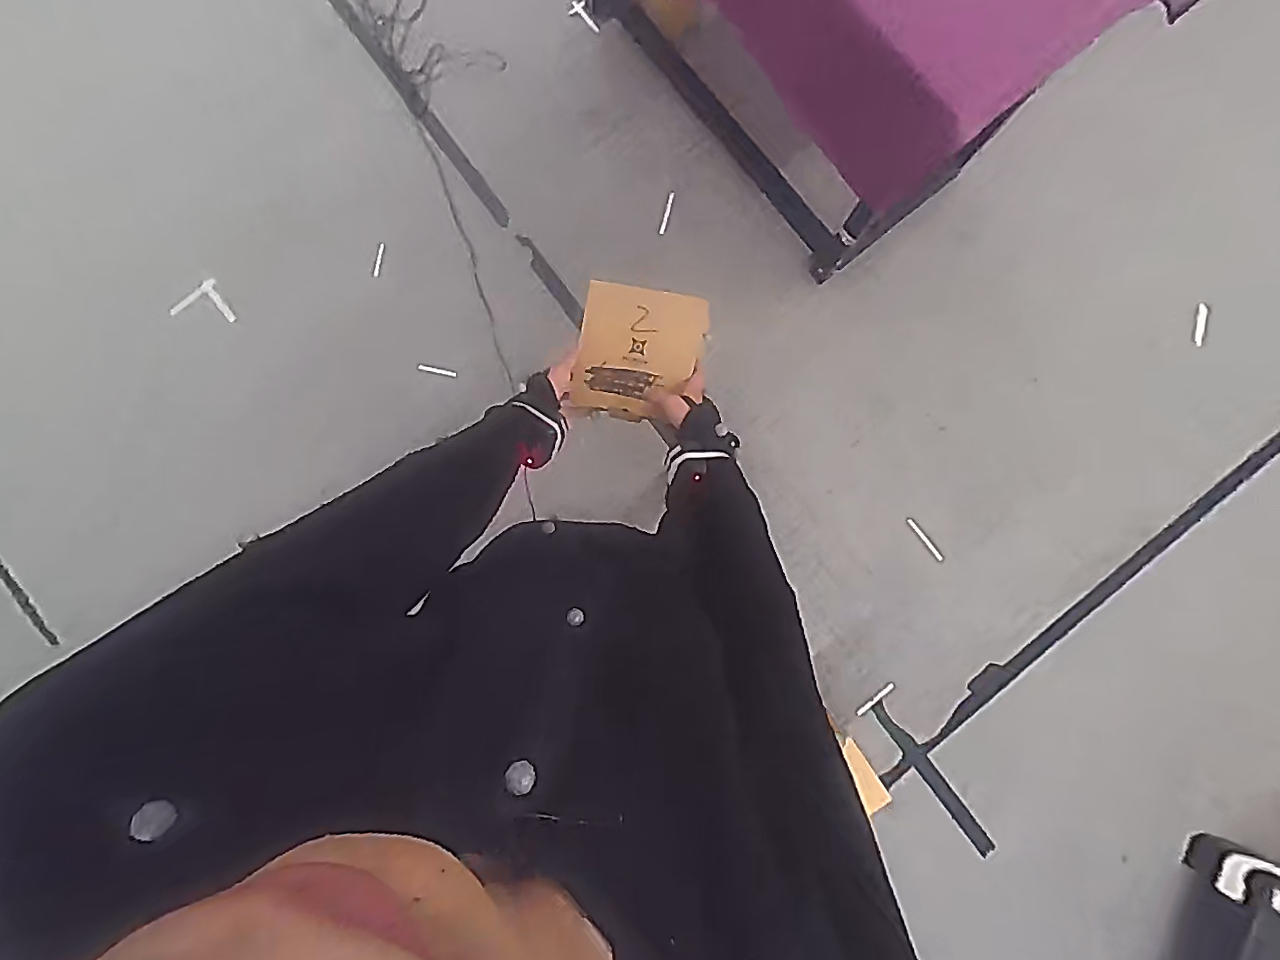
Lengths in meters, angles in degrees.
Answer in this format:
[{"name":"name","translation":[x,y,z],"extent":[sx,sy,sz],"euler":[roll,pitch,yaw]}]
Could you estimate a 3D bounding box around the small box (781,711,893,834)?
[{"name":"small box","translation":[0.476,0.711,1.334],"extent":[0.168,0.176,0.179],"euler":[-34,86,-1]}]
